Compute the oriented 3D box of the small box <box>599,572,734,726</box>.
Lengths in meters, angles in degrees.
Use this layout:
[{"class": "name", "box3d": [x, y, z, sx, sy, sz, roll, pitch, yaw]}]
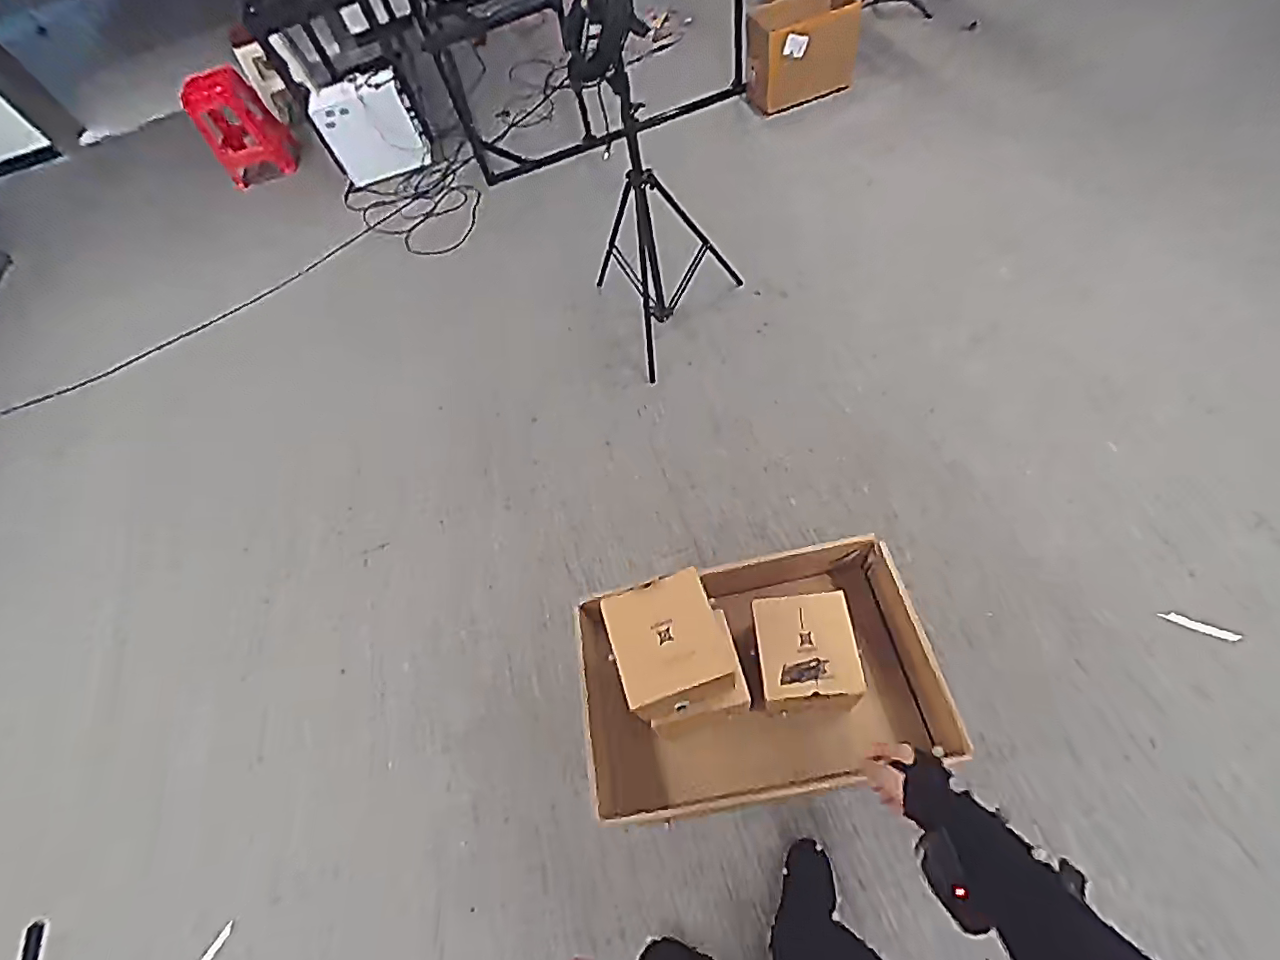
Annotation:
[{"class": "small box", "box3d": [0.046, 0.281, 0.886, 0.168, 0.176, 0.179, -20, 58, -1]}]
